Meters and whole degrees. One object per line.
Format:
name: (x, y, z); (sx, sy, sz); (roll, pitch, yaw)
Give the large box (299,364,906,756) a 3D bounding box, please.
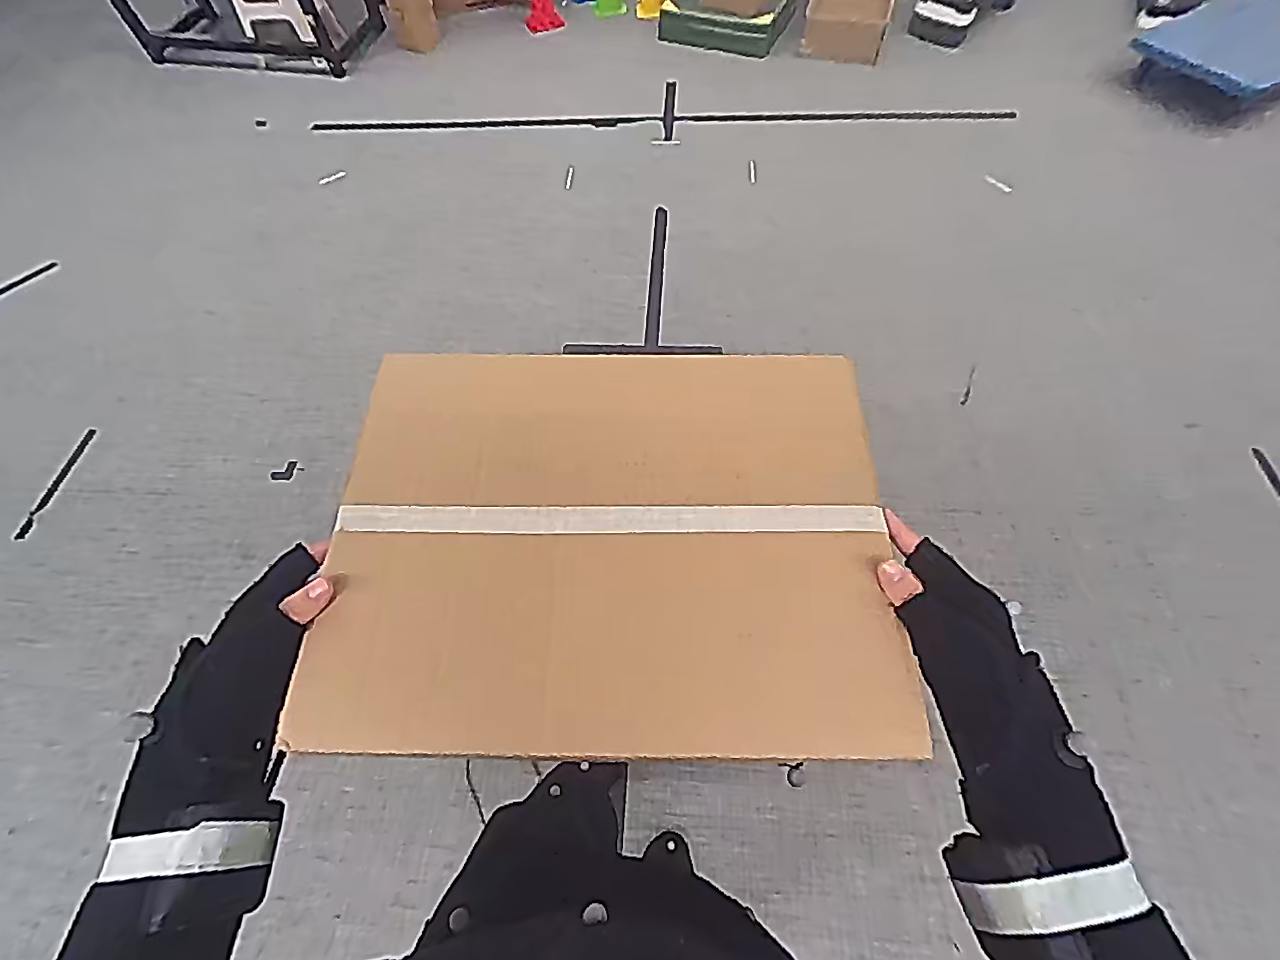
large box: (-0.022, 0.100, 0.547); (0.408, 0.320, 0.320); (1, 63, 0)
